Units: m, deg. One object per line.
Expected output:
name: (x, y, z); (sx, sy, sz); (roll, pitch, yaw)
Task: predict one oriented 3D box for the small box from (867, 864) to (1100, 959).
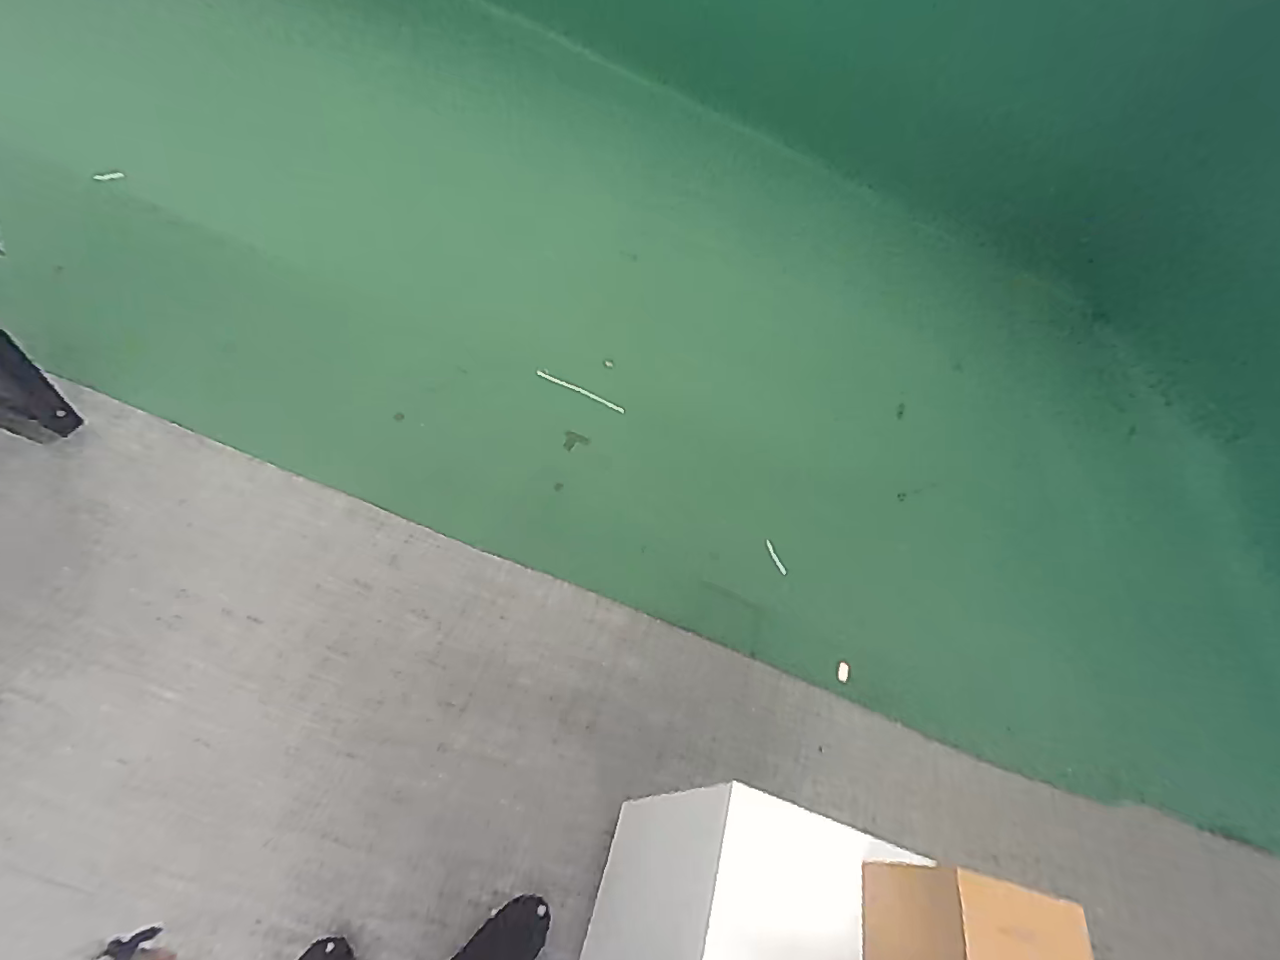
small box: (0.373, 0.552, 0.599); (0.168, 0.176, 0.179); (21, 53, -7)
